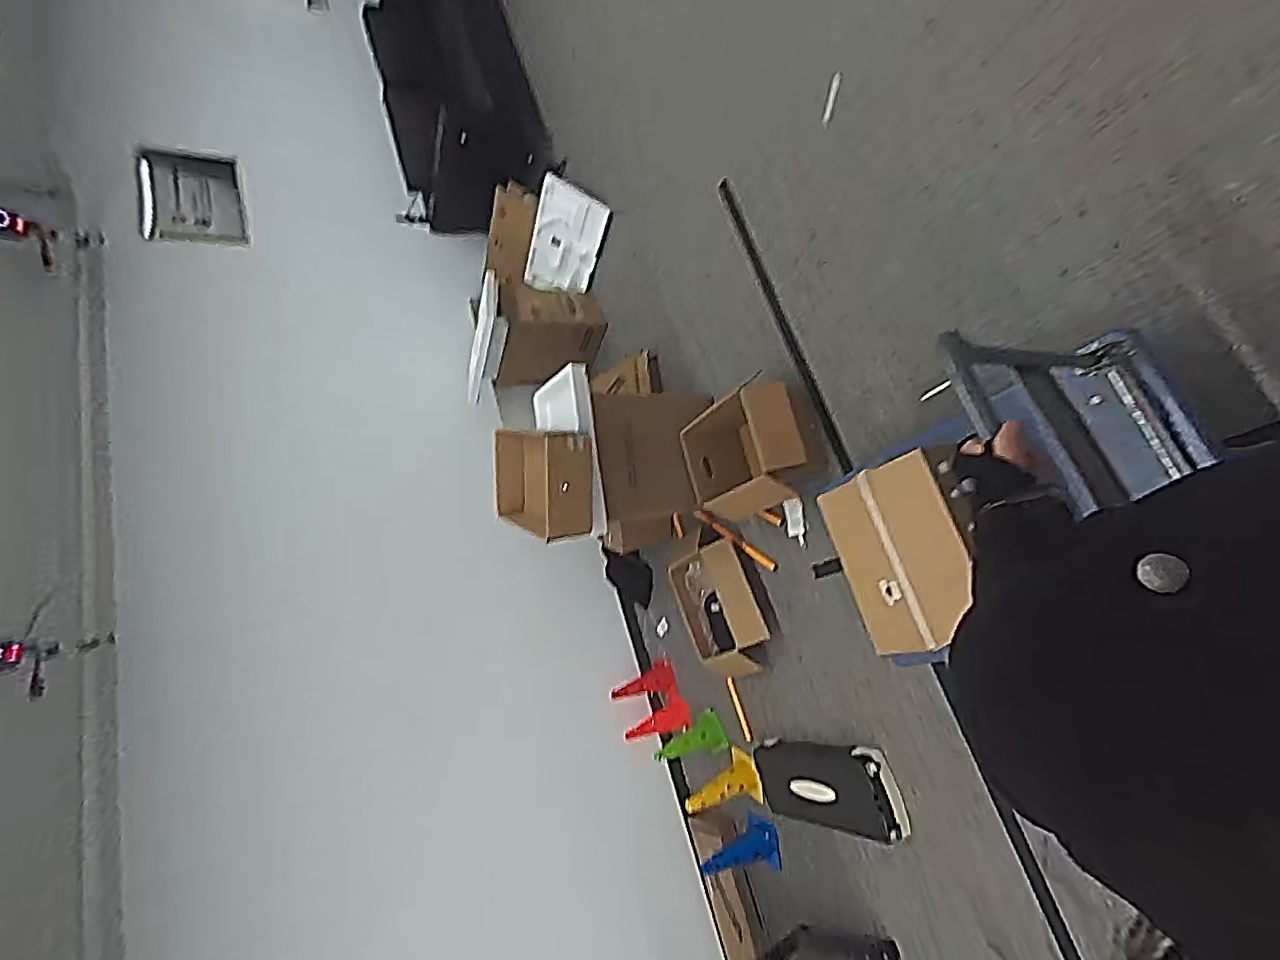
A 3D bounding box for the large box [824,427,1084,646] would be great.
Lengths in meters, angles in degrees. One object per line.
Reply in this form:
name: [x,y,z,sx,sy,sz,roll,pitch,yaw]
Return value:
large box: [0.716,0.131,1.266,0.320,0.320,0.408,-41,63,57]
